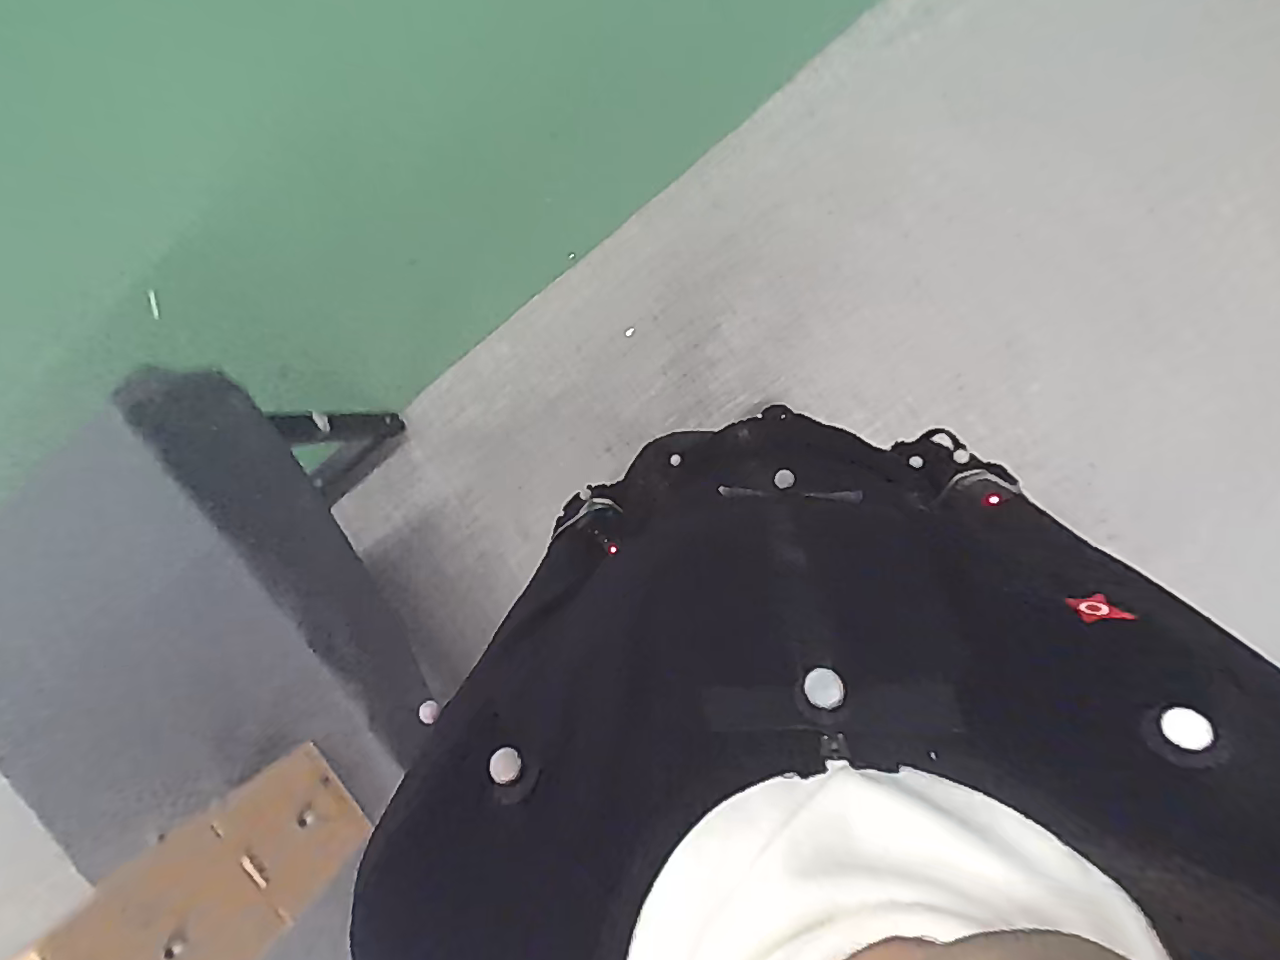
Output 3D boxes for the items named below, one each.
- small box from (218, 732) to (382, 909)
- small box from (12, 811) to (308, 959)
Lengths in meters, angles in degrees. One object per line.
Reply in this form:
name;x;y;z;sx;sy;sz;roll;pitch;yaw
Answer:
small box;-0.508;0.504;0.776;0.179;0.176;0.168;-36;91;12
small box;-0.536;0.519;0.614;0.168;0.176;0.179;-37;92;13
